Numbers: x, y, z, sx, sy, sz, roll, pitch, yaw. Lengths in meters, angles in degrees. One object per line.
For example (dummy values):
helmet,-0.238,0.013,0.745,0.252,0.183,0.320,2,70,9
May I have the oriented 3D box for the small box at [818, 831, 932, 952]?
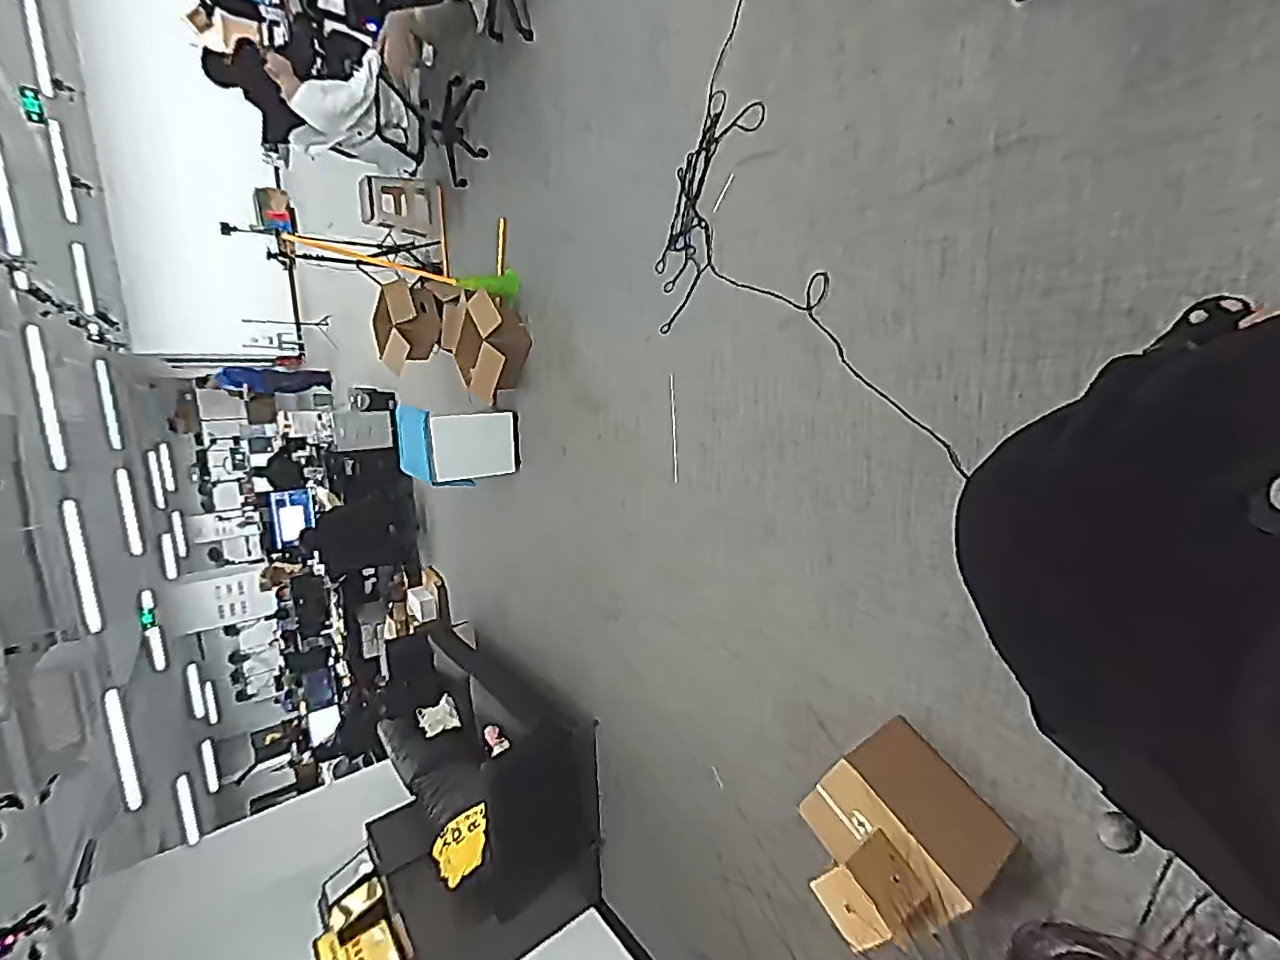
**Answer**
small box,0.601,1.047,1.383,0.168,0.176,0.179,51,135,34
